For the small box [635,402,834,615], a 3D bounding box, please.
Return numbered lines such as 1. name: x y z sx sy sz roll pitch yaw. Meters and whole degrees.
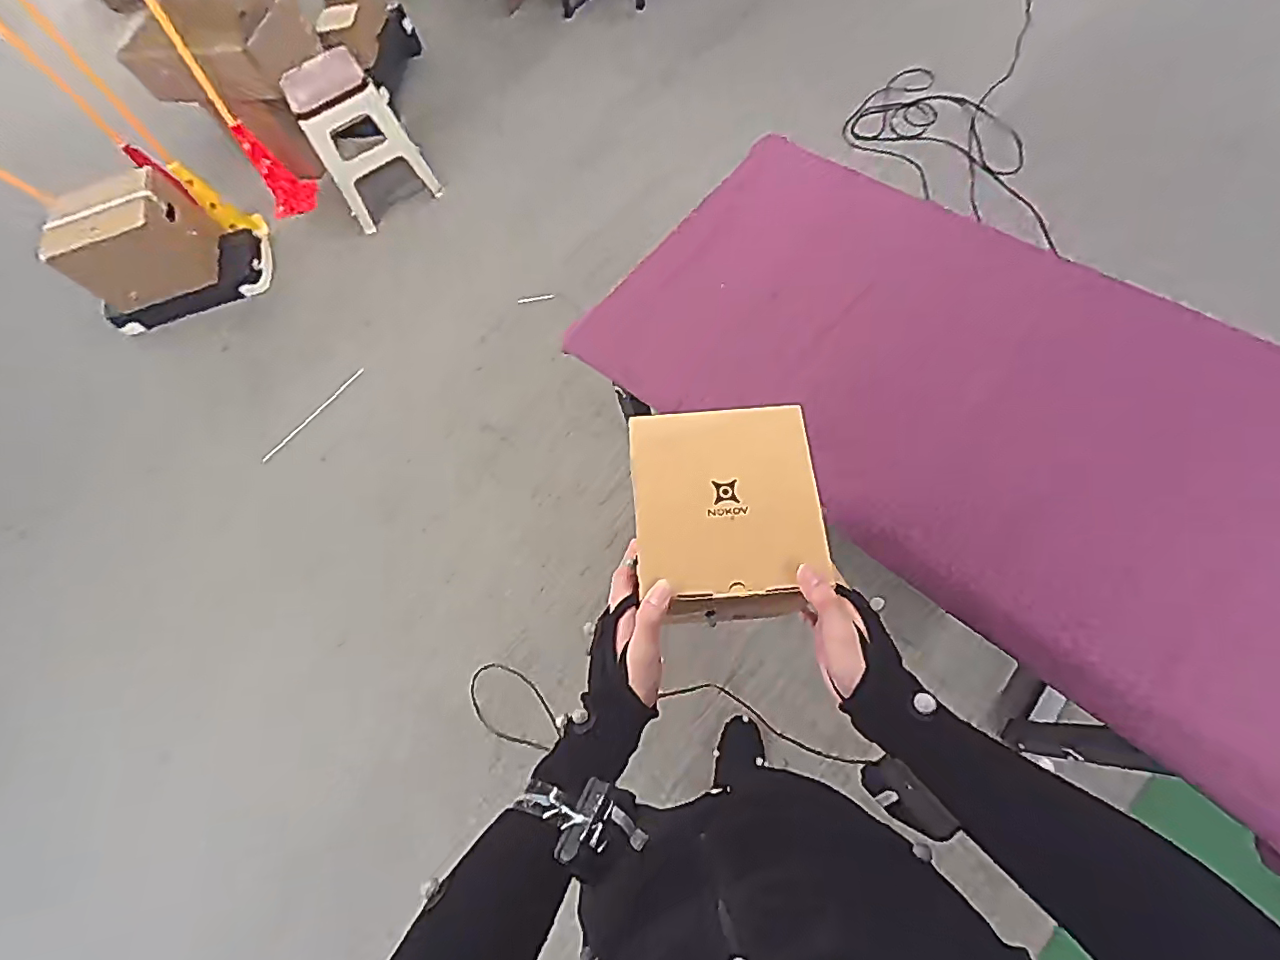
1. small box: 0.079 0.038 0.557 0.168 0.176 0.179 -3 70 0
